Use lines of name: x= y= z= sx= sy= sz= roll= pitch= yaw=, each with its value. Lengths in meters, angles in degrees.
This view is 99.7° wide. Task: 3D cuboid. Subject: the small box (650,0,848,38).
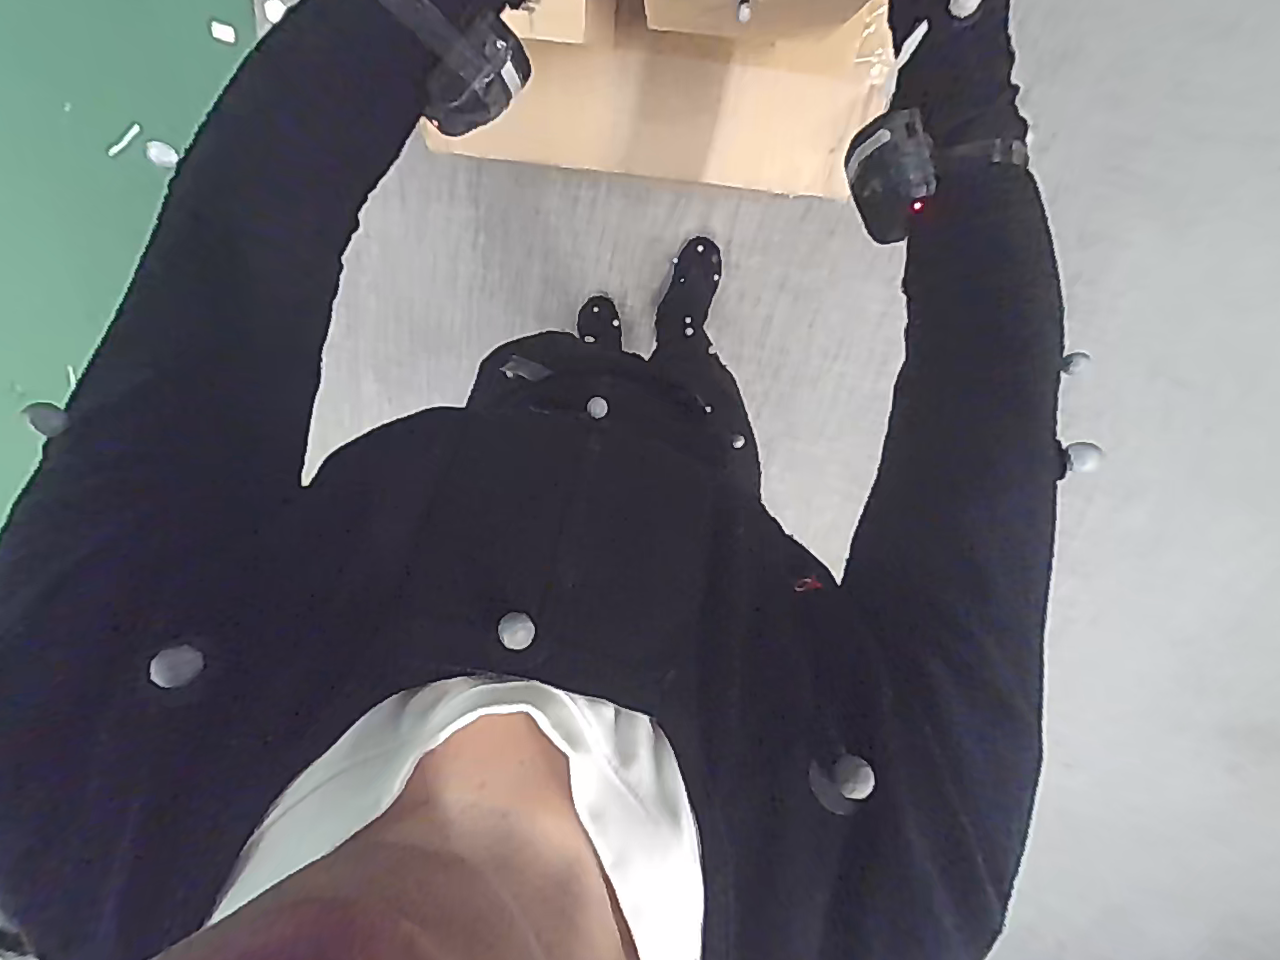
small box: x=0.097 y=-0.472 z=0.423 sx=0.179 sy=0.176 sz=0.168 roll=5 pitch=119 yaw=0

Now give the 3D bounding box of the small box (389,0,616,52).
small box: x=-0.116 y=-0.503 z=0.489 sx=0.179 sy=0.176 sz=0.168 roll=8 pitch=127 yaw=1
